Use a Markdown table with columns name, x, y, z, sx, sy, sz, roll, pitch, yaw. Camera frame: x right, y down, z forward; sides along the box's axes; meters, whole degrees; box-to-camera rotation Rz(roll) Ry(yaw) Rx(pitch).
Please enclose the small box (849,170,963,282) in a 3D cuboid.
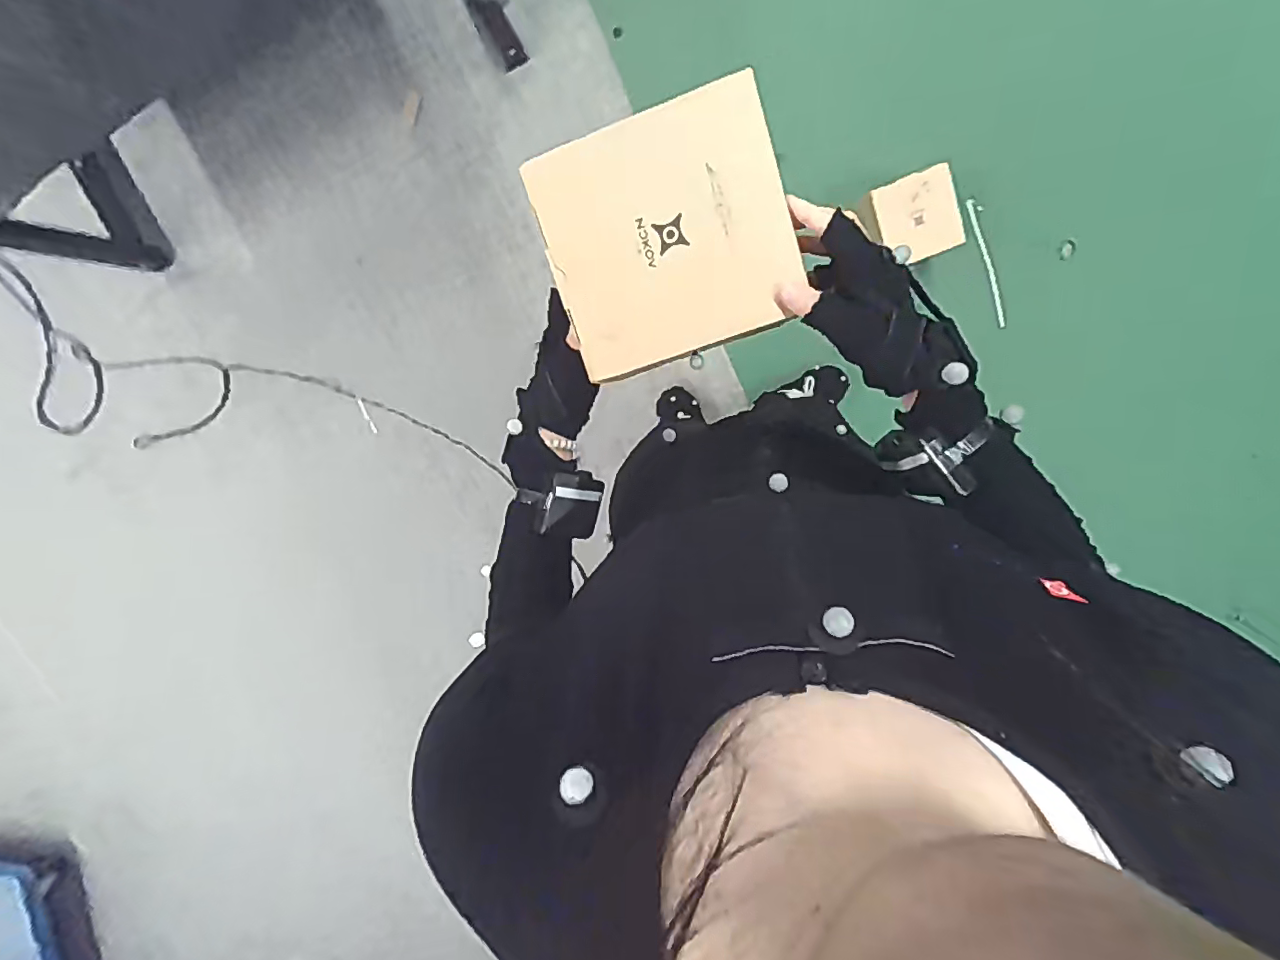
| name | x | y | z | sx | sy | sz | roll | pitch | yaw |
| --- | --- | --- | --- | --- | --- | --- | --- | --- | --- |
| small box | 0.608 | -0.574 | 1.252 | 0.168 | 0.176 | 0.179 | -19 | 99 | 8 |
